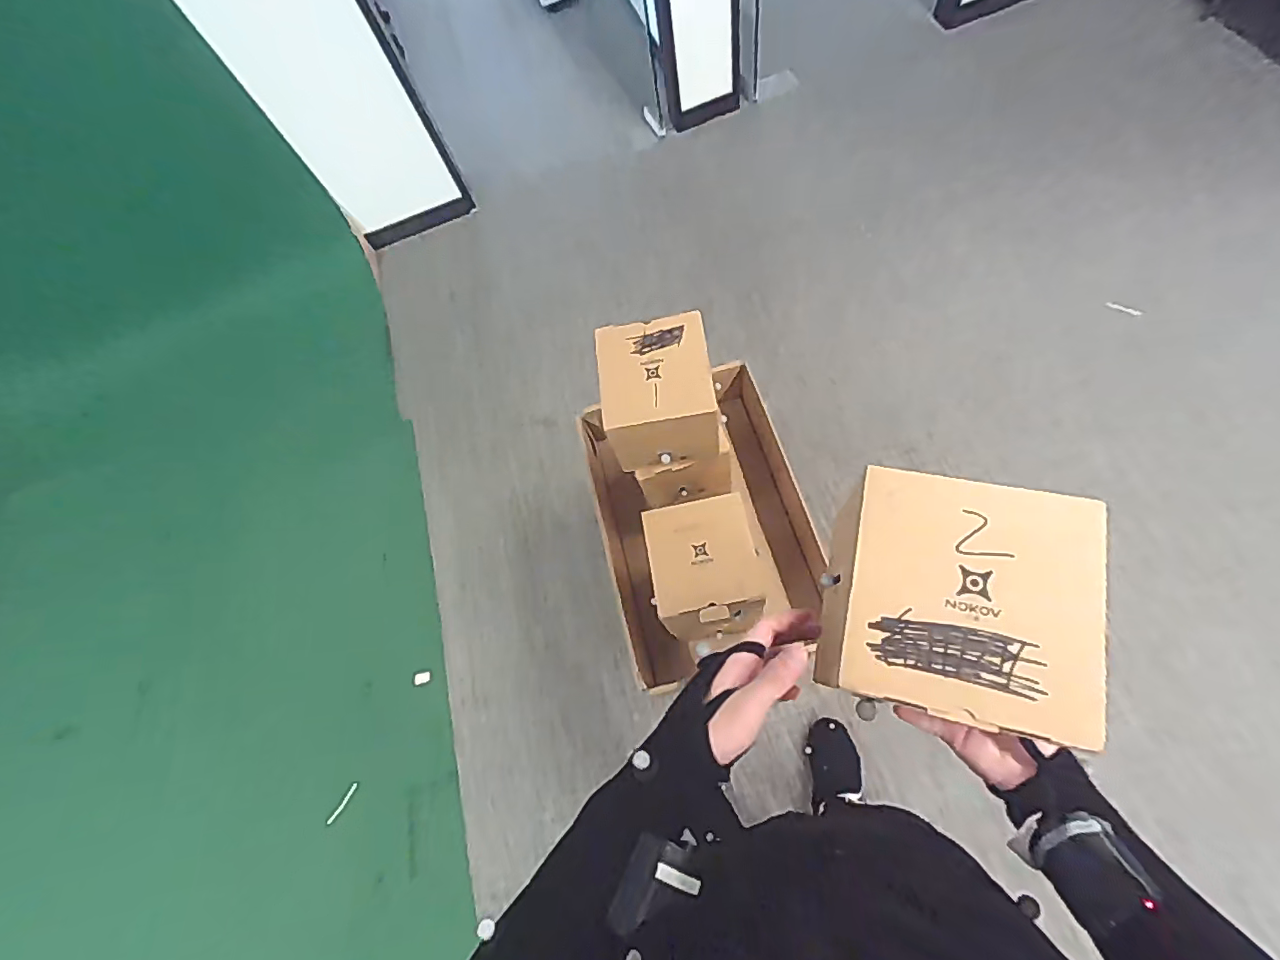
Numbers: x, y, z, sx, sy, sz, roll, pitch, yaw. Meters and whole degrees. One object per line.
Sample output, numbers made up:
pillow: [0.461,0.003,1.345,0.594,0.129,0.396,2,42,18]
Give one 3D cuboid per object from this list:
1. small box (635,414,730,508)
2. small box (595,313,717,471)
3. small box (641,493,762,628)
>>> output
small box: [0.063,-0.070,1.013,0.168,0.176,0.179,-18,67,3]
small box: [0.030,-0.133,0.865,0.168,0.176,0.179,-9,68,7]
small box: [0.106,0.145,0.907,0.168,0.176,0.179,-11,64,5]
